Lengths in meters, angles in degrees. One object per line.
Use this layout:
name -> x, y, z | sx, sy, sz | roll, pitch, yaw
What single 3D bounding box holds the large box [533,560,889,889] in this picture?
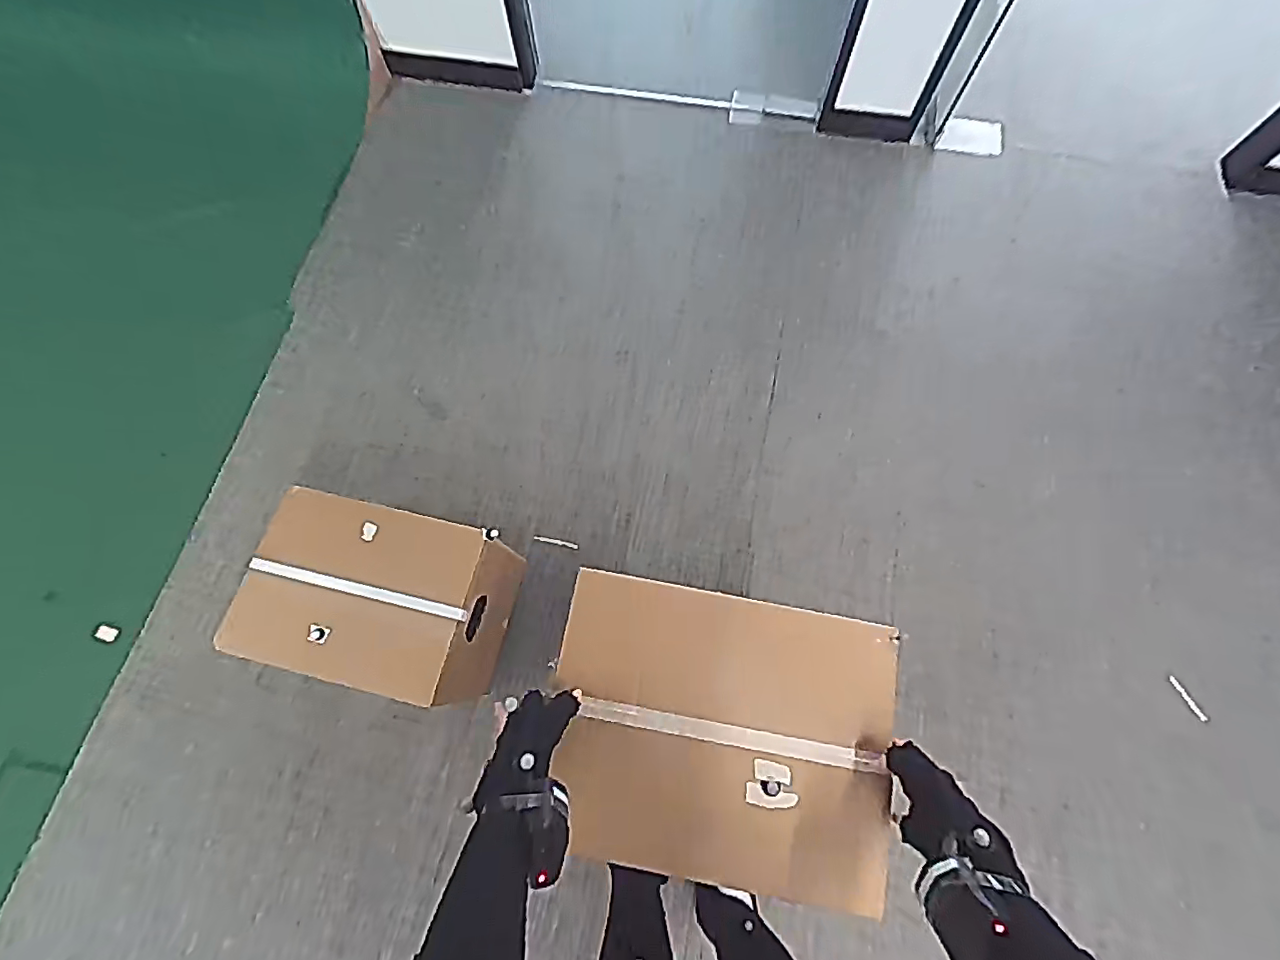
large box -> 0.091, 0.324, 0.795 | 0.408, 0.320, 0.320 | 11, 74, 2
